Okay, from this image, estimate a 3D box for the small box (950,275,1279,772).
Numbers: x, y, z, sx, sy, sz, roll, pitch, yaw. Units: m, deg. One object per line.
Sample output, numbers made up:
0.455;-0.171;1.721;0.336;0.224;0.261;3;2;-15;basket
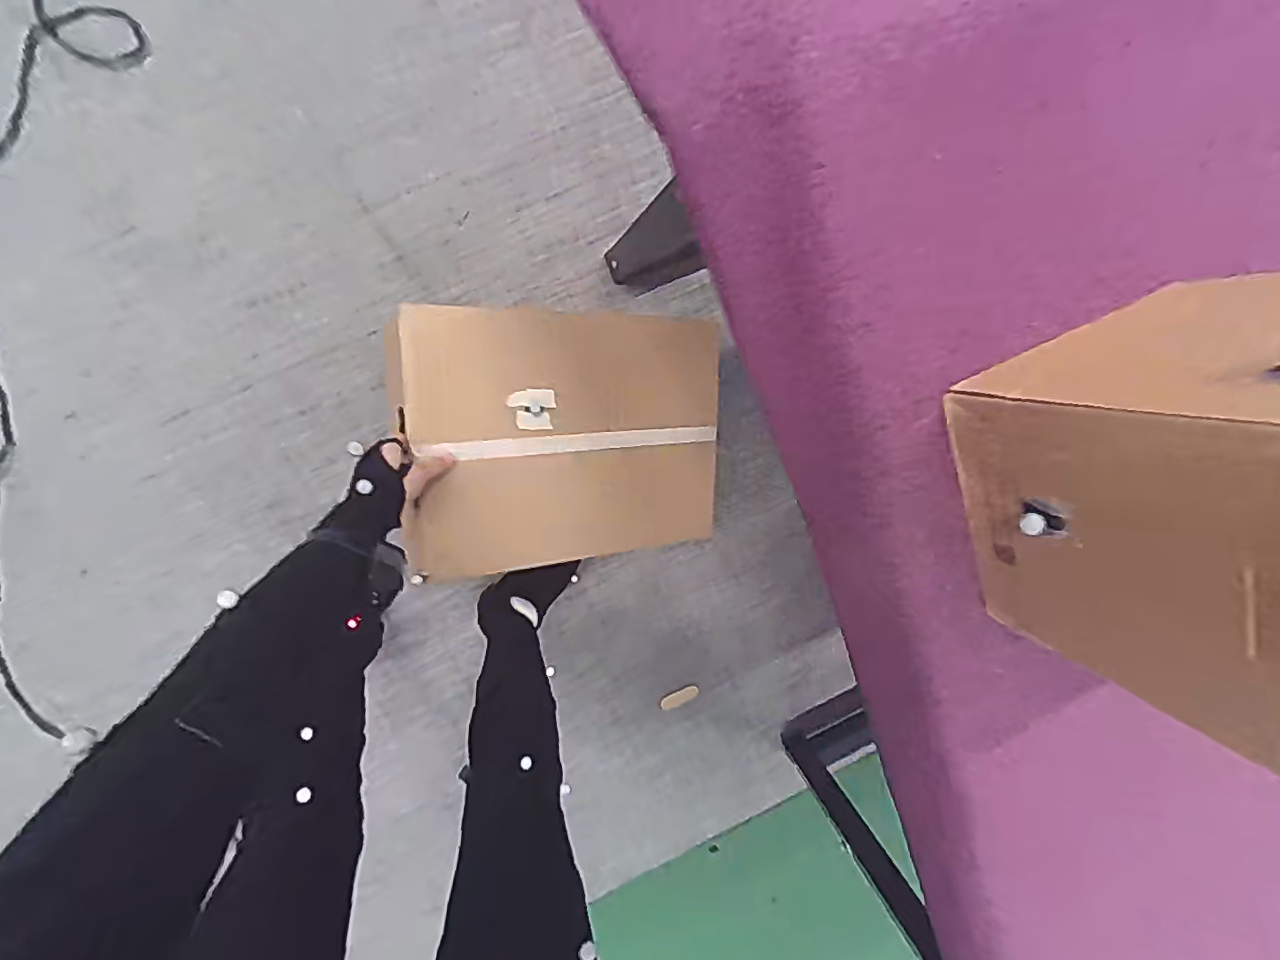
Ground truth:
0.300;0.001;0.270;0.179;0.176;0.168;-24;107;-6;small box
